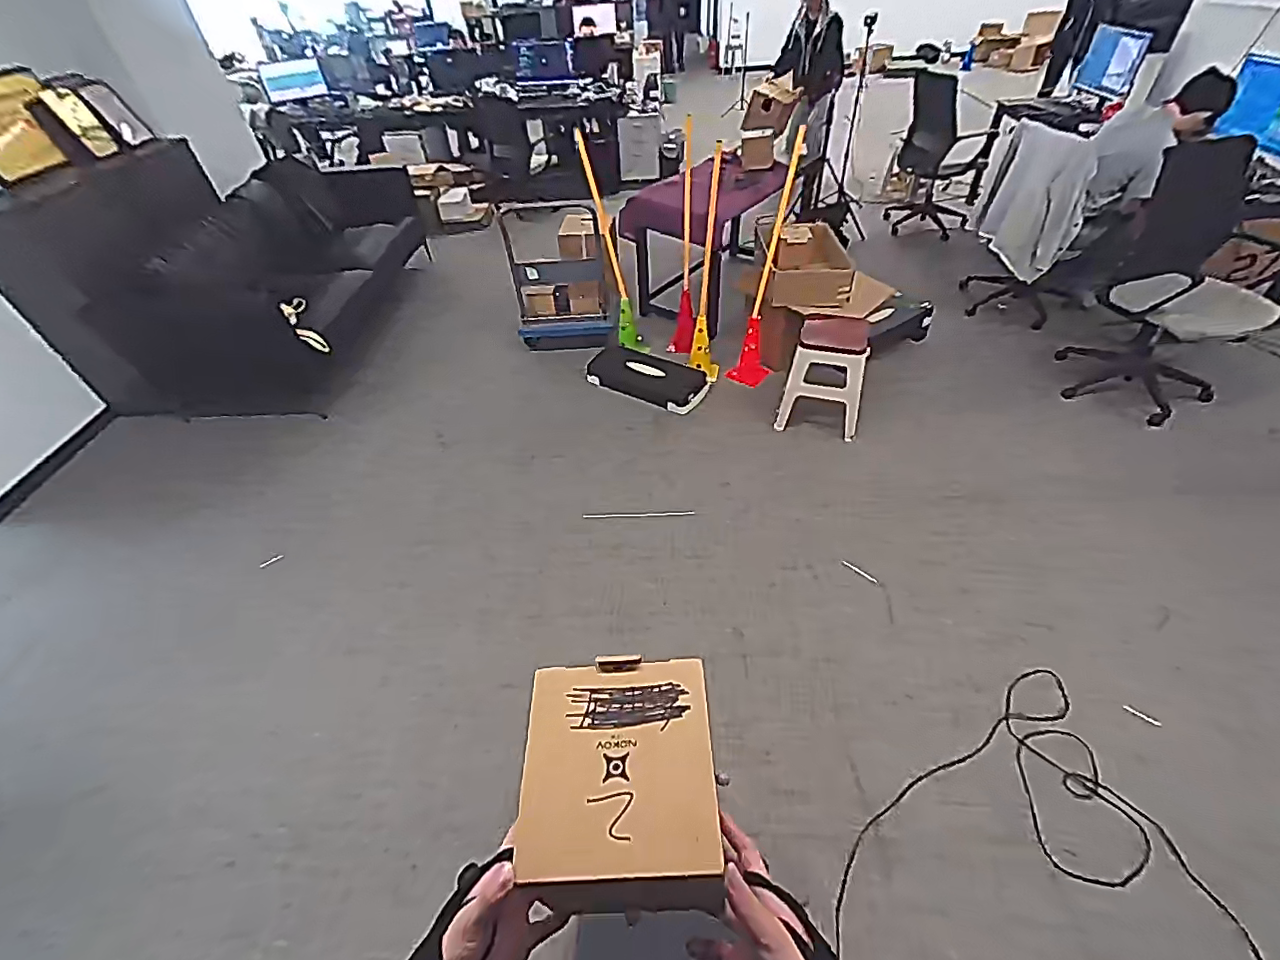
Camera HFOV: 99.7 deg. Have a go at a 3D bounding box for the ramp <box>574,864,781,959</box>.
[{"bbox_3d":[0.077,1.301,1.025,0.509,0.206,0.991,-4,44,3],"label":"ramp"}]
